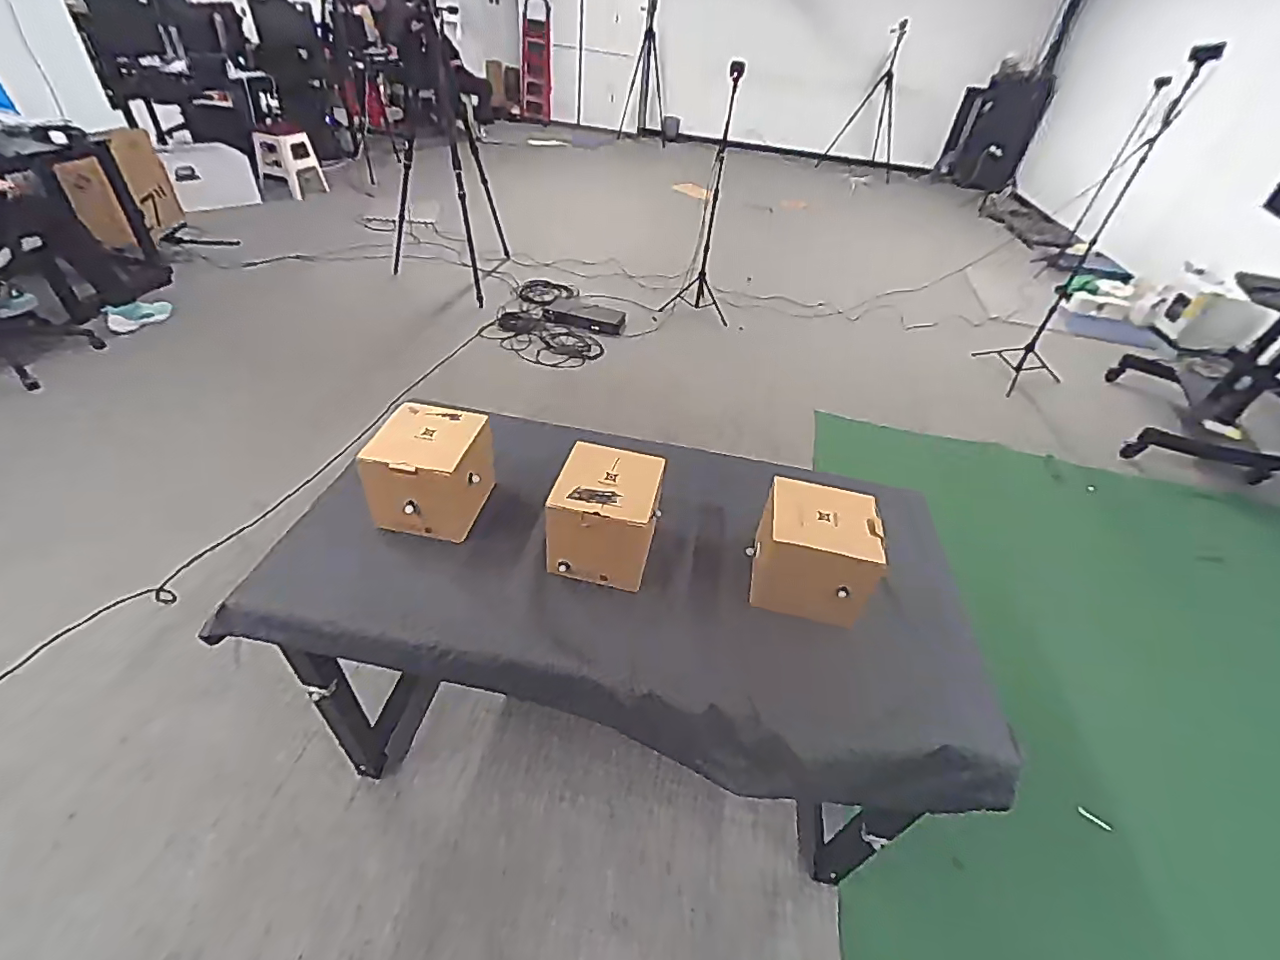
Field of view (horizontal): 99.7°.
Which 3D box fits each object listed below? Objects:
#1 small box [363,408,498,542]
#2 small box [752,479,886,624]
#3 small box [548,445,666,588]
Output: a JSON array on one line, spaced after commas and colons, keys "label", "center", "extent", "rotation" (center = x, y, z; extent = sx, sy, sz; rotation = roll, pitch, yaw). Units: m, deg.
[{"label": "small box", "center": [-0.374, -0.009, 1.006], "extent": [0.168, 0.176, 0.179], "rotation": [10, 41, 3]}, {"label": "small box", "center": [0.301, 0.126, 0.939], "extent": [0.179, 0.176, 0.168], "rotation": [10, 39, 7]}, {"label": "small box", "center": [-0.054, 0.066, 0.960], "extent": [0.168, 0.176, 0.179], "rotation": [12, 40, 6]}]
